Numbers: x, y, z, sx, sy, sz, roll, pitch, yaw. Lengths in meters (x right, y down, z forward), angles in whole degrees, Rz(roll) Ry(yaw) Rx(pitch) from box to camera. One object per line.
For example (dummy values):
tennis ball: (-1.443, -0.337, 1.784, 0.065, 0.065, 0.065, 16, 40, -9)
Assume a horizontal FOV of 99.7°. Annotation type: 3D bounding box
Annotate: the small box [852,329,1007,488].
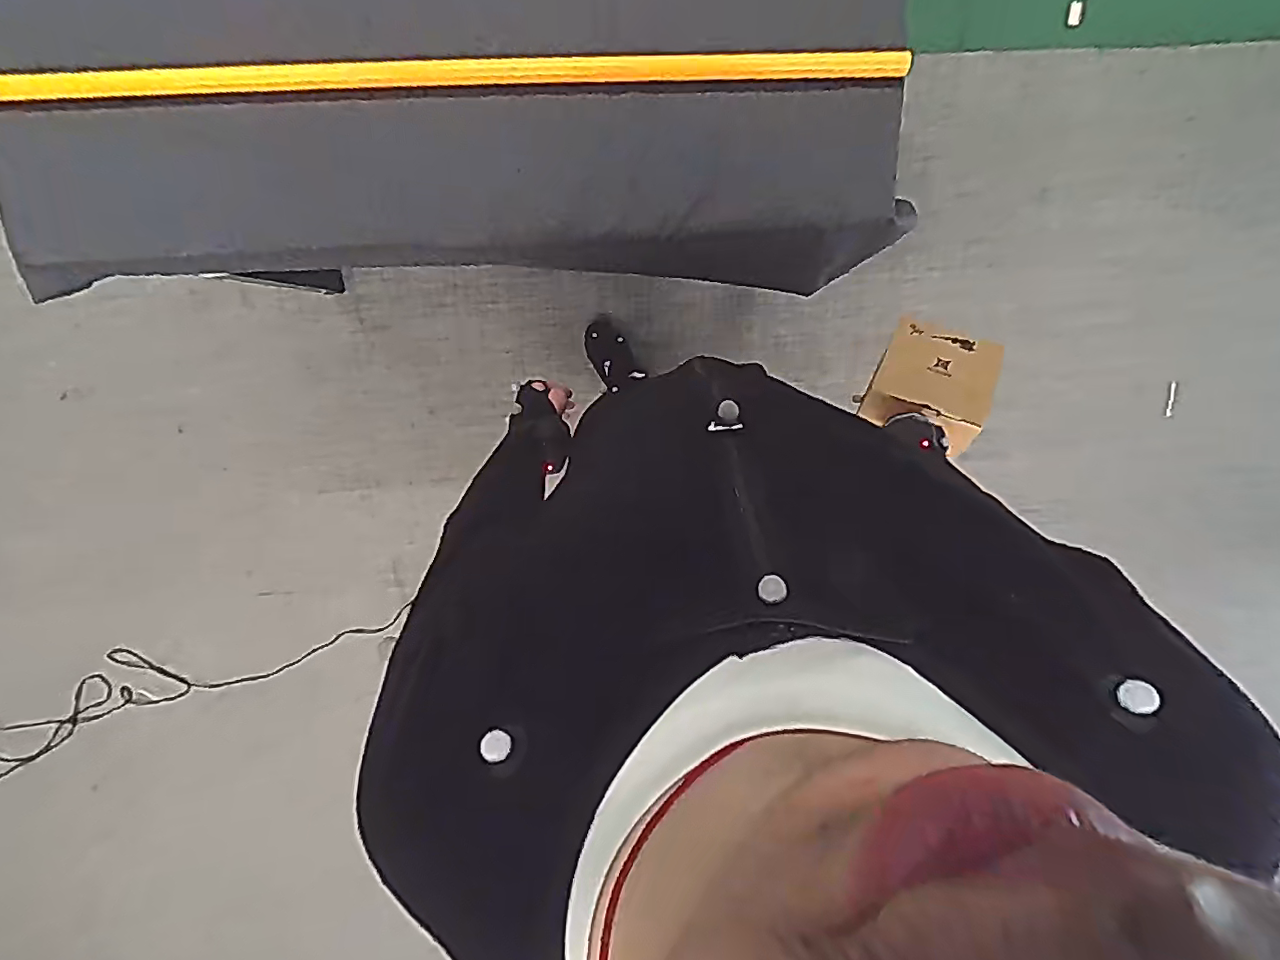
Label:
small box: (0.472, -0.114, 0.903, 0.168, 0.176, 0.179, 23, 62, 18)
